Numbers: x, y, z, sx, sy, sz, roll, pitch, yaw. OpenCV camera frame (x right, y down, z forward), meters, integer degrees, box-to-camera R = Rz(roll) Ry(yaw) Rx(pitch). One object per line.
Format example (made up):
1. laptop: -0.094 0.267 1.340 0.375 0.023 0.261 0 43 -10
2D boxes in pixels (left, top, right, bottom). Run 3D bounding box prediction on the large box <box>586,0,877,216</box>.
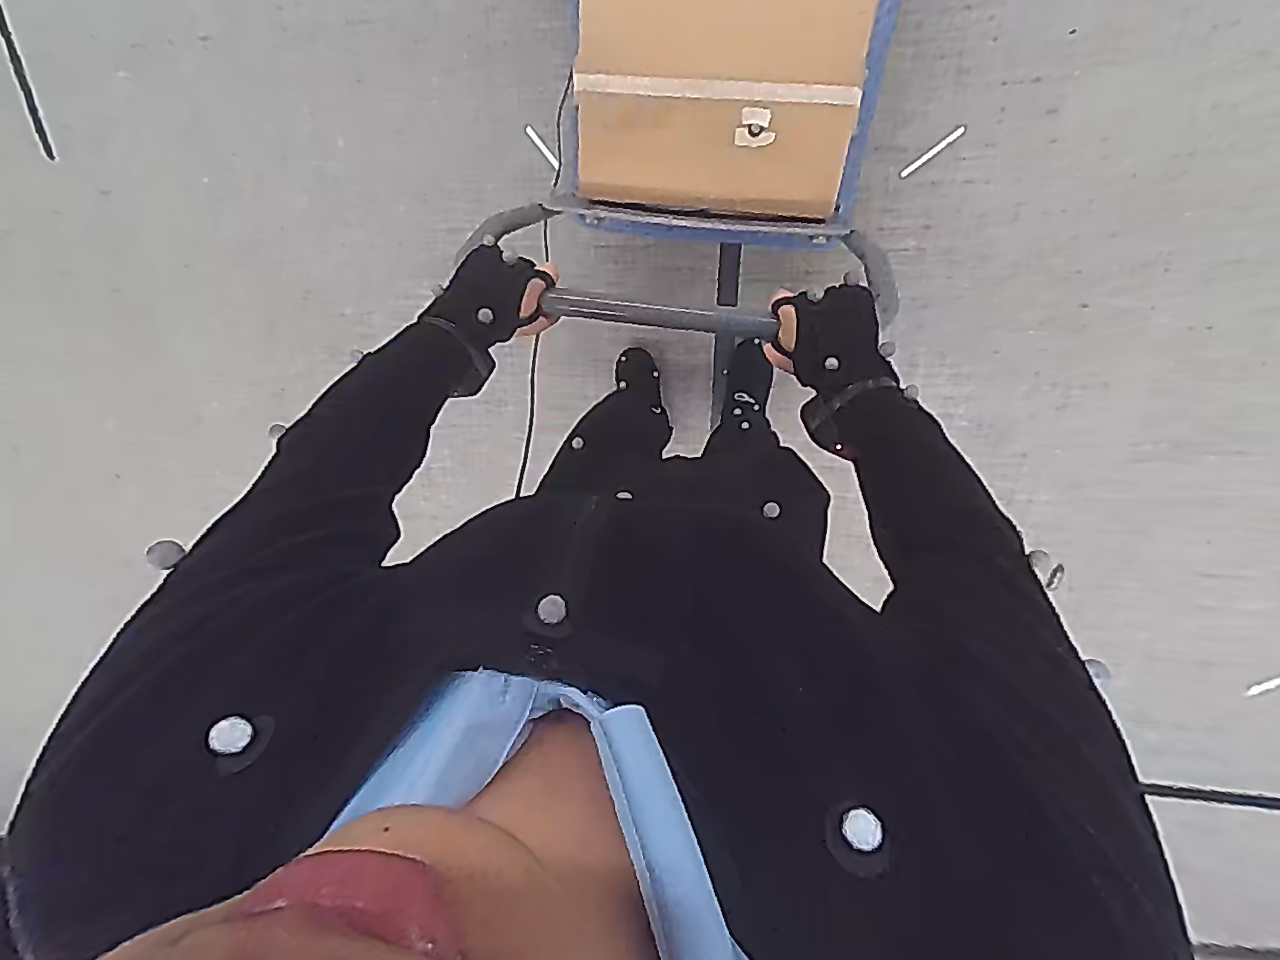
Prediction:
1. large box: 0.136 -0.639 0.923 0.408 0.320 0.320 8 120 6
